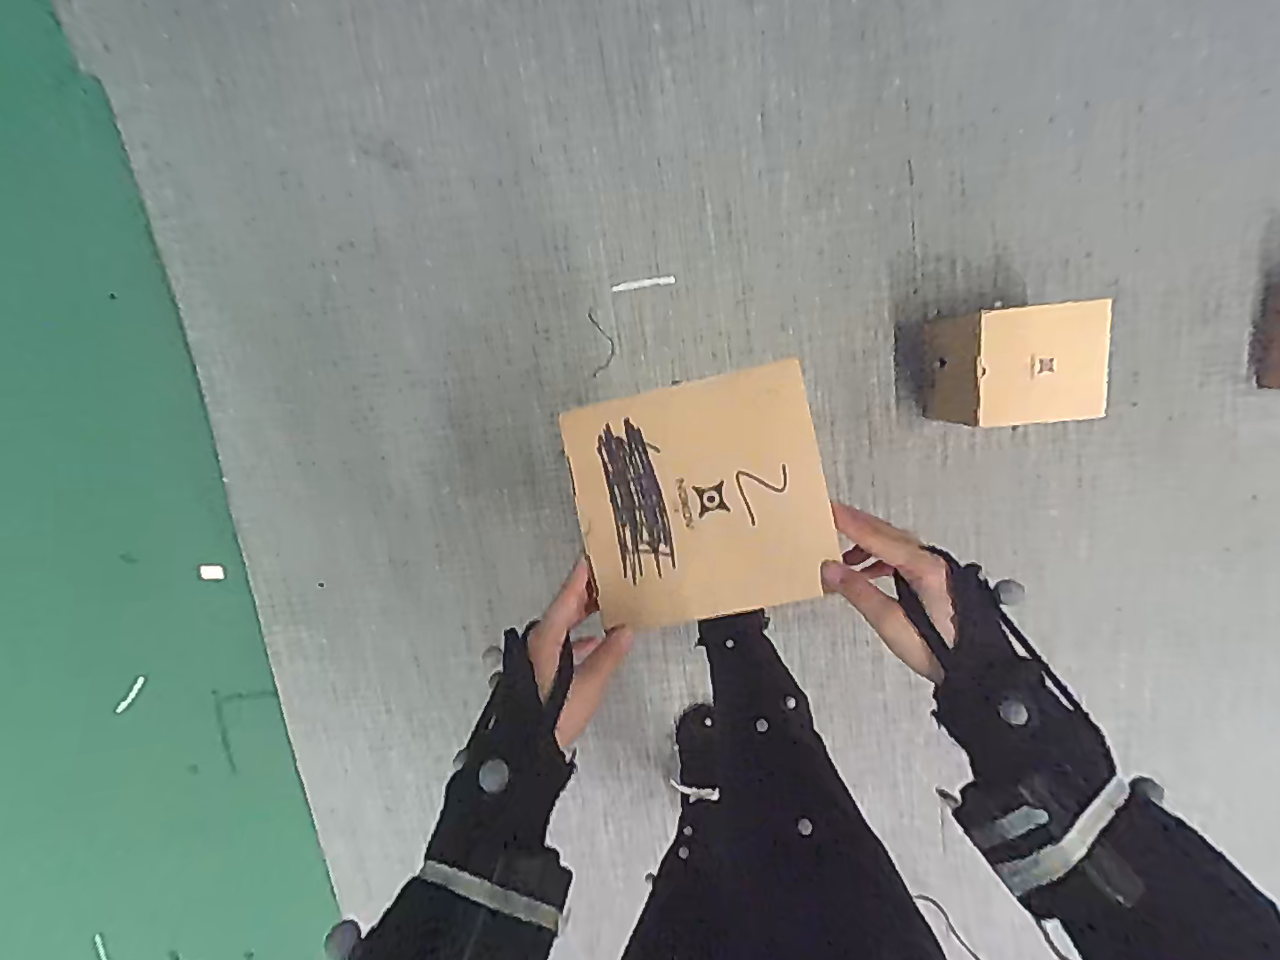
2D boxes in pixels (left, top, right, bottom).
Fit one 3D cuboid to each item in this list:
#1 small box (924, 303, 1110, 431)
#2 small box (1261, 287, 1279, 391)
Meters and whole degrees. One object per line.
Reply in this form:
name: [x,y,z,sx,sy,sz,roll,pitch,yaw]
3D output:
small box: [0.566,-0.173,0.835,0.179,0.176,0.168,-5,101,6]
small box: [1.086,-0.213,0.788,0.168,0.176,0.179,-1,100,3]
